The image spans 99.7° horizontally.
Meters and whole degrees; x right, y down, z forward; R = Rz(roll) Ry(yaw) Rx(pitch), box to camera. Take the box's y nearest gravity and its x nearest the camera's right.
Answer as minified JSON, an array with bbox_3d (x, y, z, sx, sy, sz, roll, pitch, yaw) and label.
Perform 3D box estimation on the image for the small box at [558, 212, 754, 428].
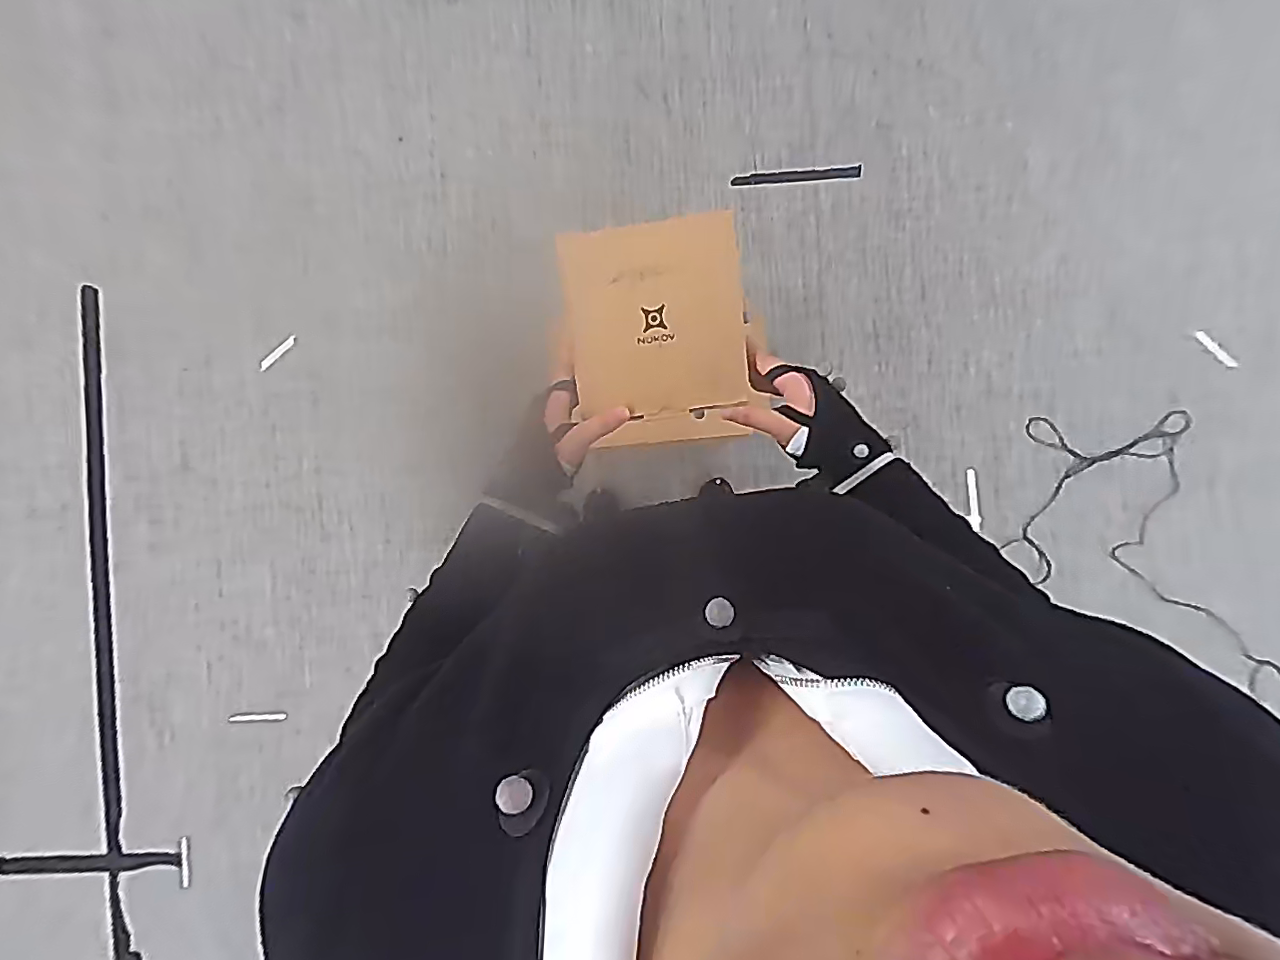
[{"bbox_3d":[0.020,-0.161,0.576,0.168,0.176,0.179,-8,101,3],"label":"small box"}]
